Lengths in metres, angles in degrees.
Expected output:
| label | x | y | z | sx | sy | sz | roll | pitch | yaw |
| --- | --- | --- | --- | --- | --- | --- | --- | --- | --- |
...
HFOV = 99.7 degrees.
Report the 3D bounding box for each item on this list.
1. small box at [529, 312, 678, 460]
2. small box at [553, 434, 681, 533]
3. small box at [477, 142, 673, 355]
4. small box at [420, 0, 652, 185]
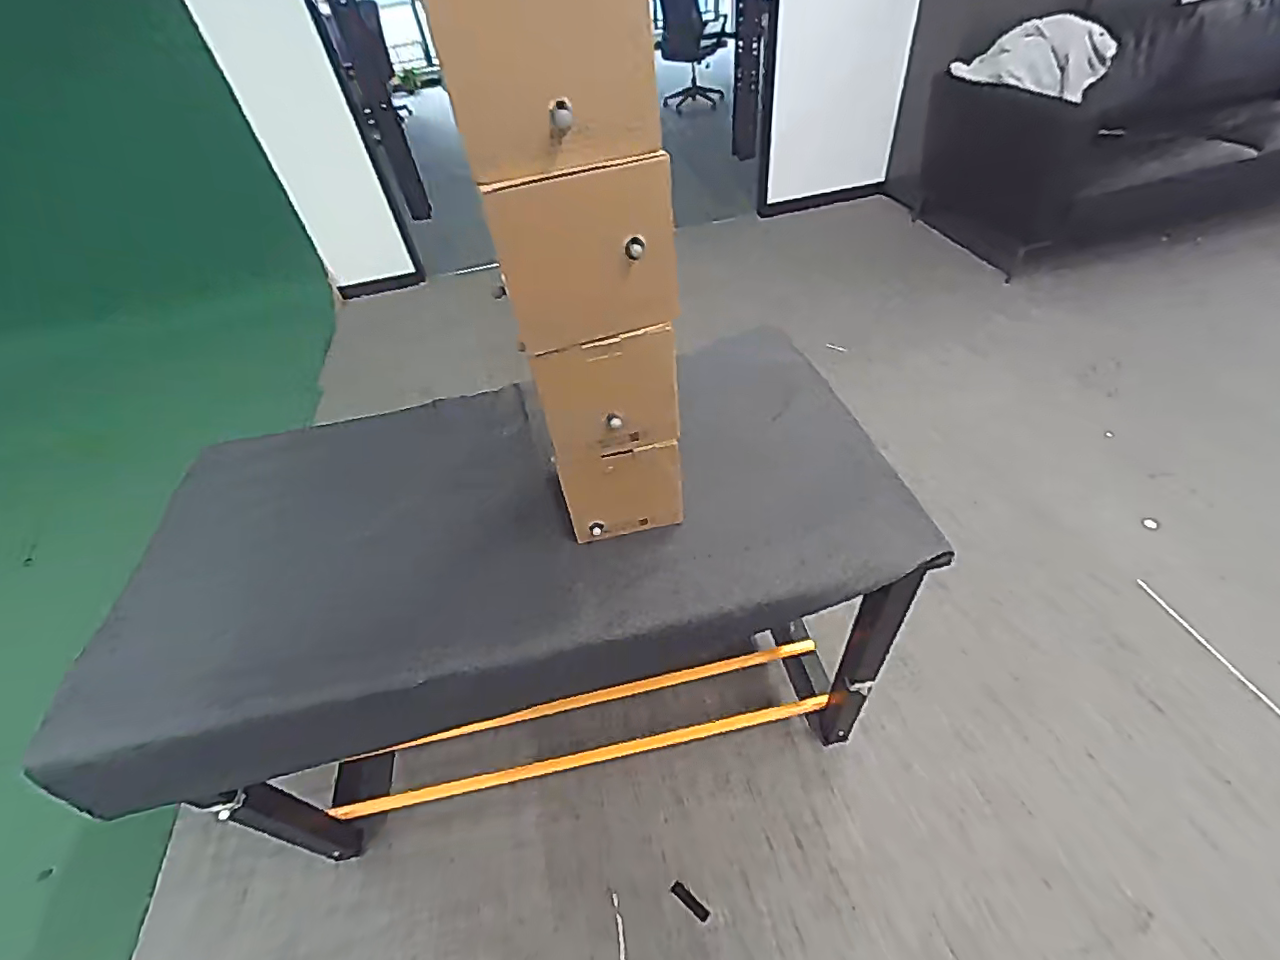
| label | x | y | z | sx | sy | sz | roll | pitch | yaw |
| --- | --- | --- | --- | --- | --- | --- | --- | --- | --- |
| small box | -0.052 | -0.153 | 0.710 | 0.168 | 0.176 | 0.179 | -14 | 46 | -4 |
| small box | -0.036 | -0.036 | 0.825 | 0.168 | 0.176 | 0.179 | -11 | 44 | -3 |
| small box | -0.069 | -0.263 | 0.592 | 0.179 | 0.176 | 0.168 | -18 | 44 | -8 |
| small box | -0.091 | -0.390 | 0.489 | 0.179 | 0.176 | 0.168 | -14 | 44 | -6 |
